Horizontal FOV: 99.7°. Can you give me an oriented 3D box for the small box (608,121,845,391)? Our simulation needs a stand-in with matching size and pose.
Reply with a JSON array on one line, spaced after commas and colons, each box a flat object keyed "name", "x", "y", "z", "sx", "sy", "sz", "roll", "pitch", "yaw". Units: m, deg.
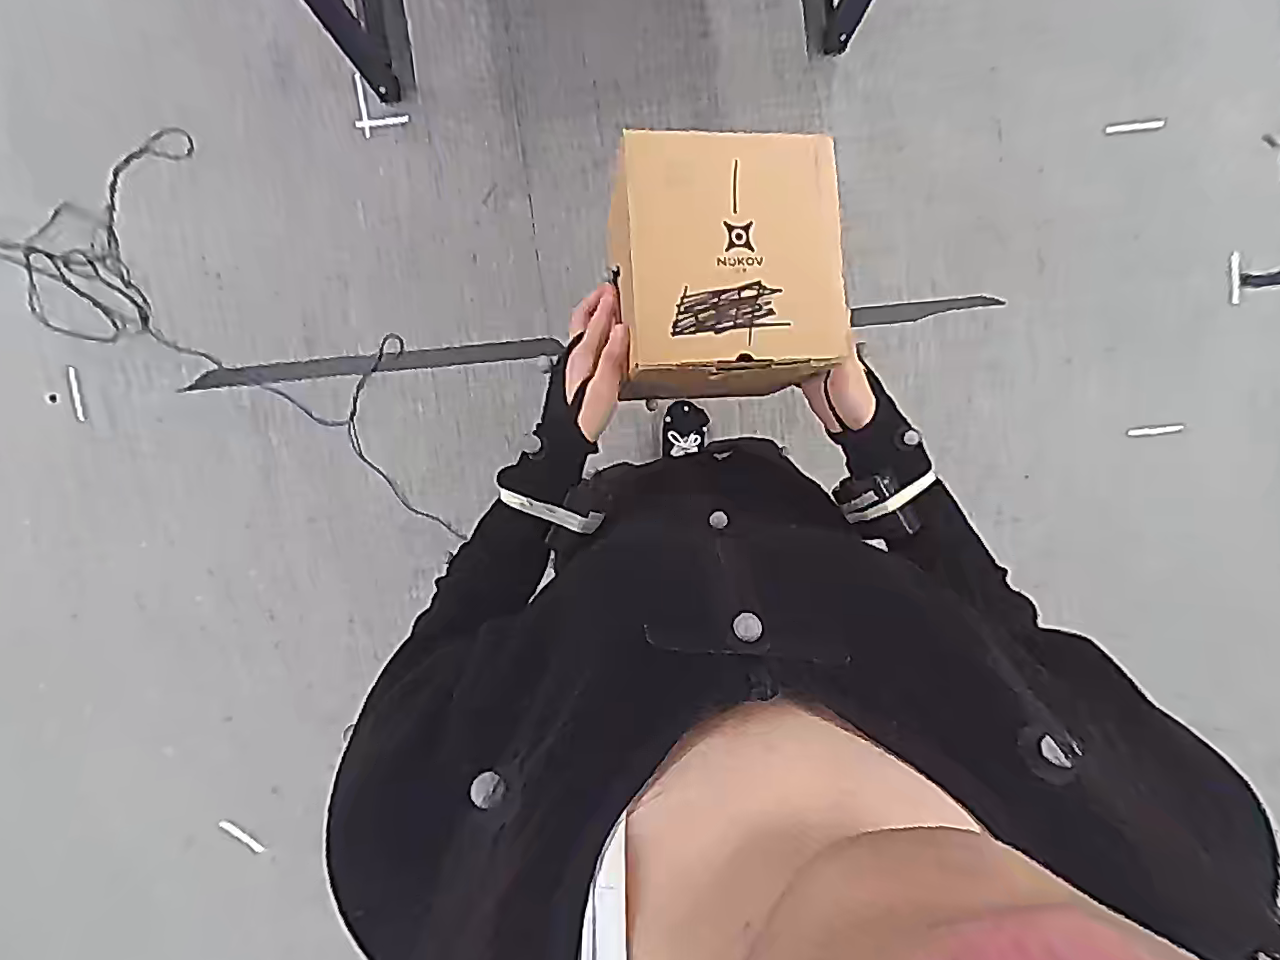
[{"name": "small box", "x": 0.061, "y": -0.177, "z": 0.480, "sx": 0.168, "sy": 0.176, "sz": 0.179, "roll": -4, "pitch": 89, "yaw": -7}]
